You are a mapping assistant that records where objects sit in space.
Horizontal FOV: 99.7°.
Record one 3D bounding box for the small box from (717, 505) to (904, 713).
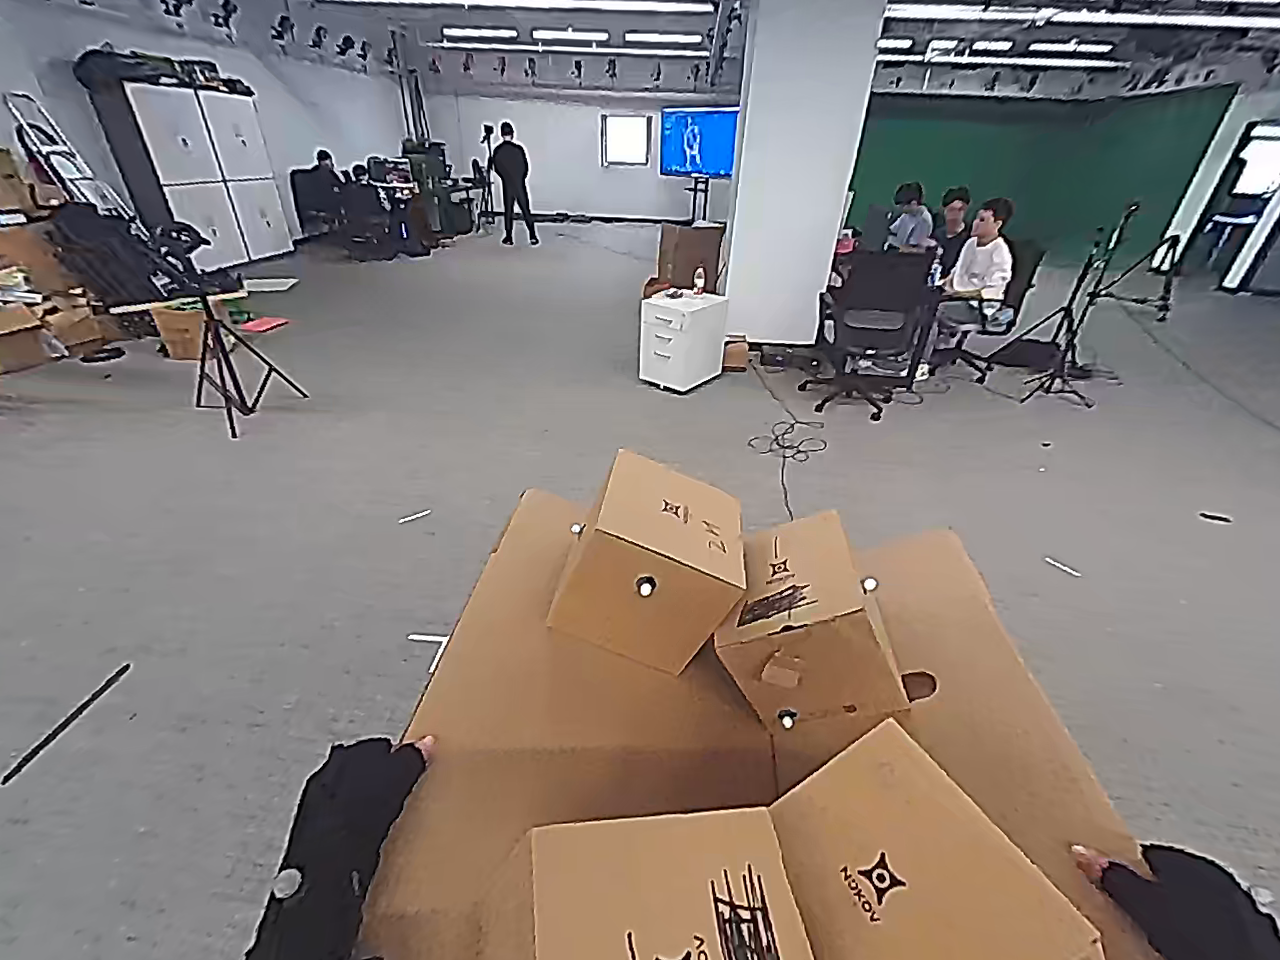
[{"bbox_3d":[0.208,0.167,0.676,0.168,0.176,0.179,-21,27,22],"label":"small box"}]
